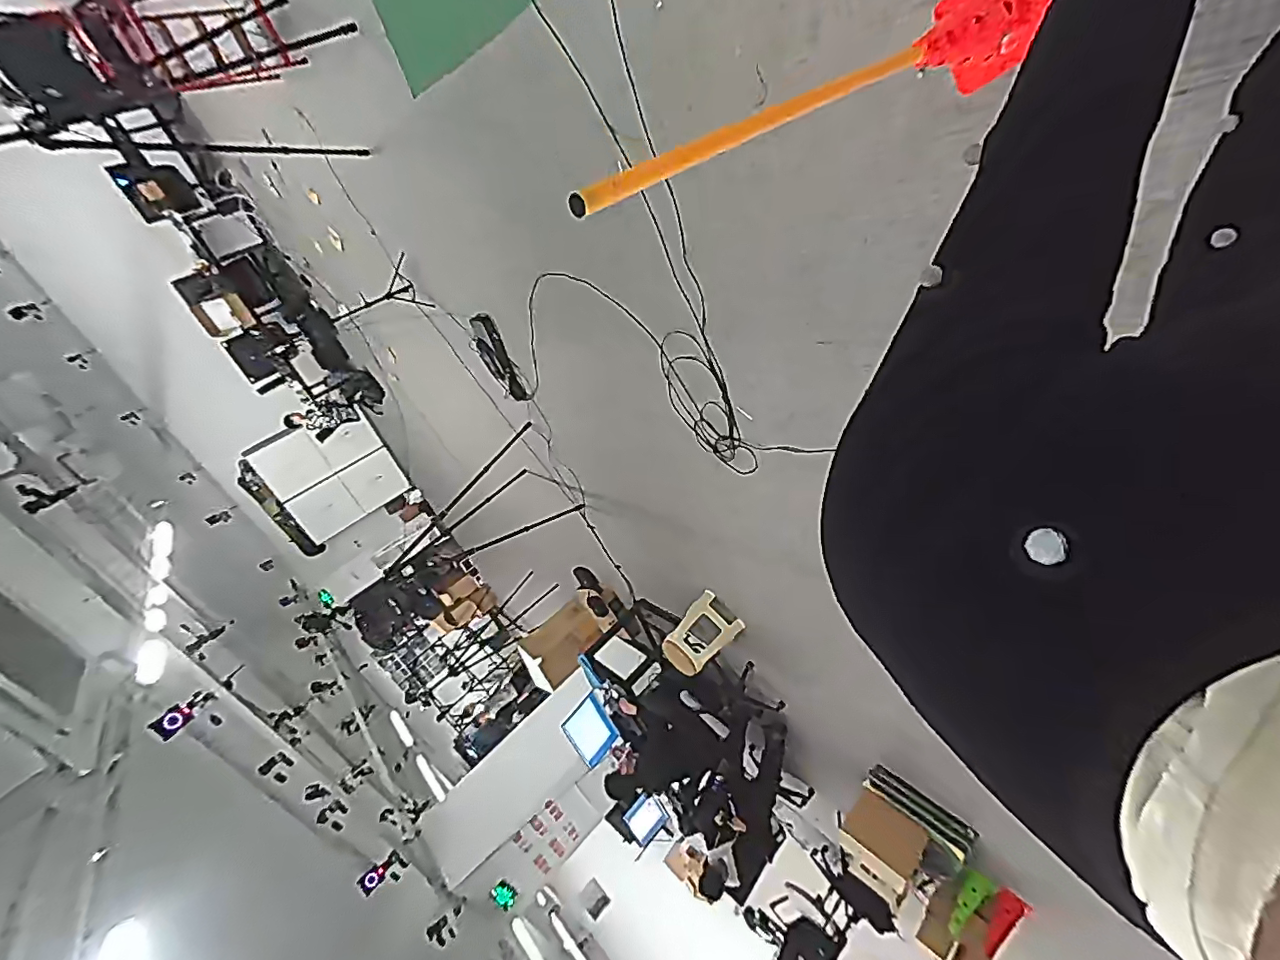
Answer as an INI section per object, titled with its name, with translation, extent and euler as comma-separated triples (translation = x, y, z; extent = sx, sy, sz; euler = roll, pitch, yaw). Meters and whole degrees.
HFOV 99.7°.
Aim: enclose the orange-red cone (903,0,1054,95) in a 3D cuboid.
[orange-red cone]
translation = 0.620, -0.864, 1.062
extent = 0.199, 0.360, 0.198
euler = -1, 123, 59
